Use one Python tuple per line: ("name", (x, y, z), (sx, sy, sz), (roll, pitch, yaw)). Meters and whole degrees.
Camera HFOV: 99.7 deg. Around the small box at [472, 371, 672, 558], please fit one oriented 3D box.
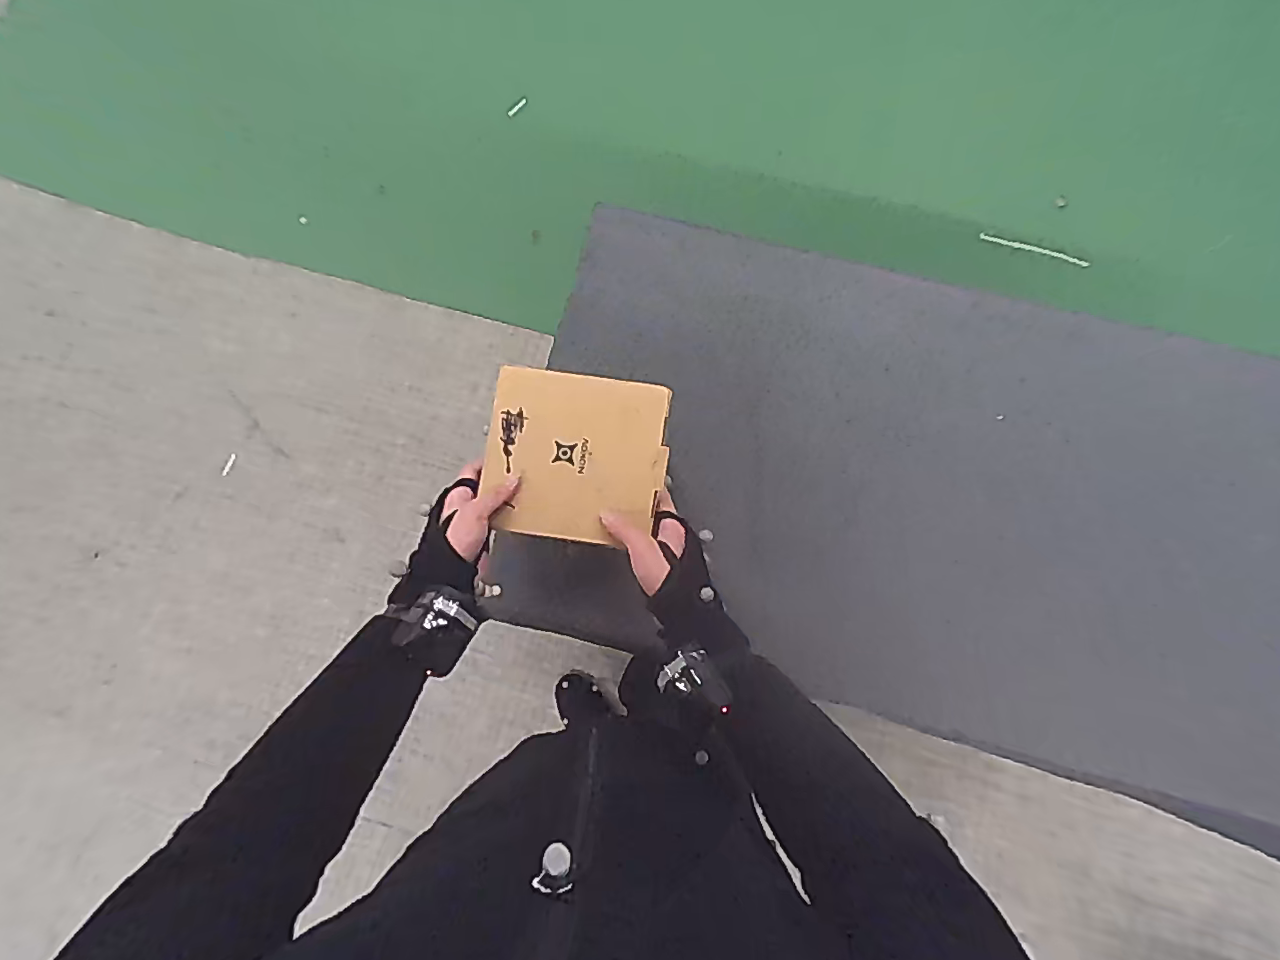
("small box", (-0.066, -0.007, 0.607), (0.179, 0.176, 0.168), (8, 82, 1))
